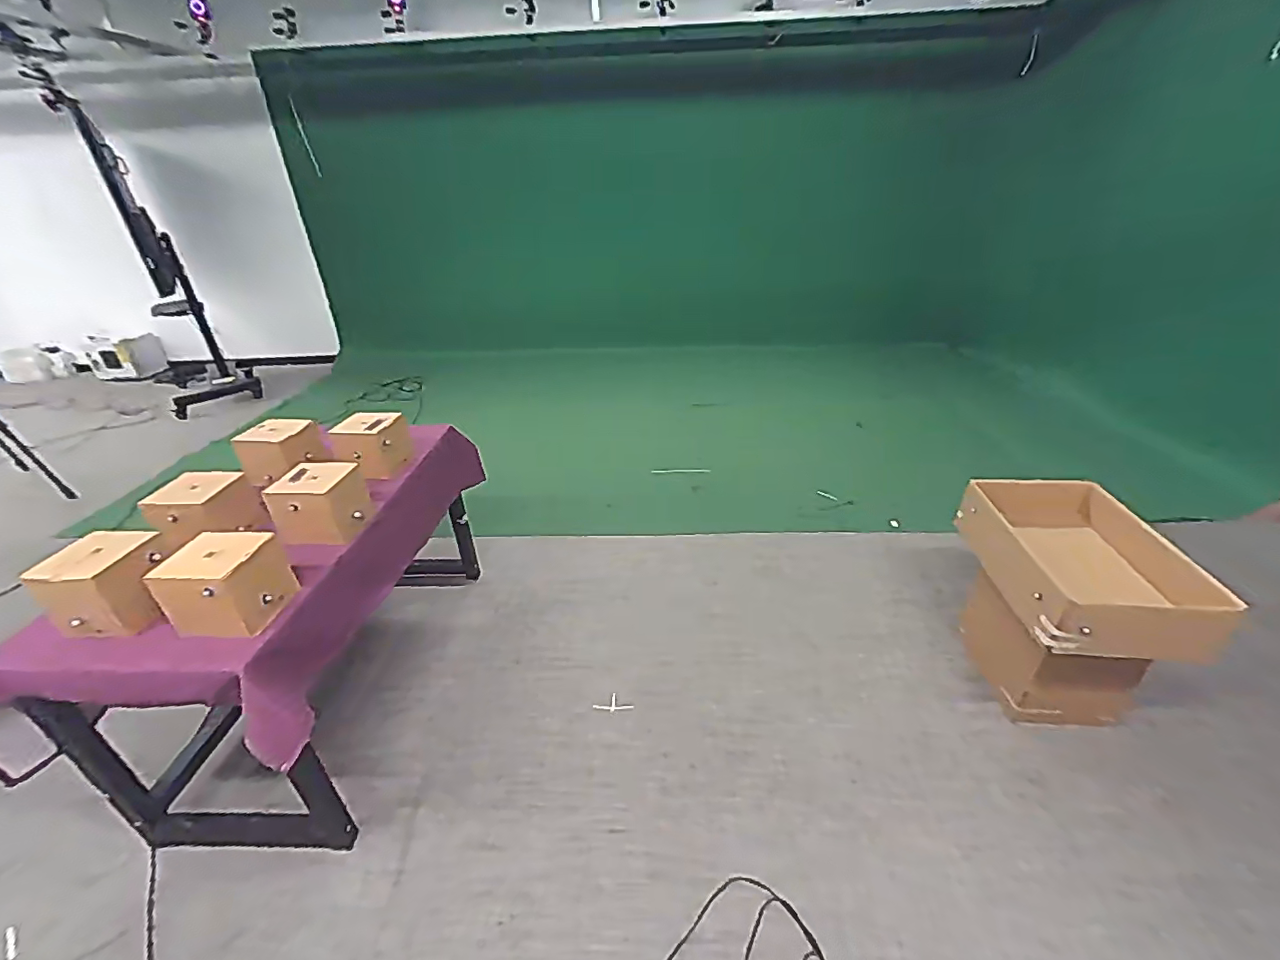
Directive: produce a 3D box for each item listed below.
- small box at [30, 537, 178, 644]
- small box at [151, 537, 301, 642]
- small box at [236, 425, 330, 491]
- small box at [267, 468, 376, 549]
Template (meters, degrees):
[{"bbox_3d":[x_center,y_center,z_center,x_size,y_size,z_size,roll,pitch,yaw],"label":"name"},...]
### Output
[{"bbox_3d":[-1.179,0.246,1.225,0.168,0.176,0.179,-1,29,5],"label":"small box"},{"bbox_3d":[-0.907,0.243,1.204,0.179,0.176,0.168,-1,29,5],"label":"small box"},{"bbox_3d":[-1.169,-0.069,1.787,0.179,0.176,0.168,3,29,9],"label":"small box"},{"bbox_3d":[-0.867,0.078,1.490,0.179,0.176,0.168,0,30,5],"label":"small box"}]
